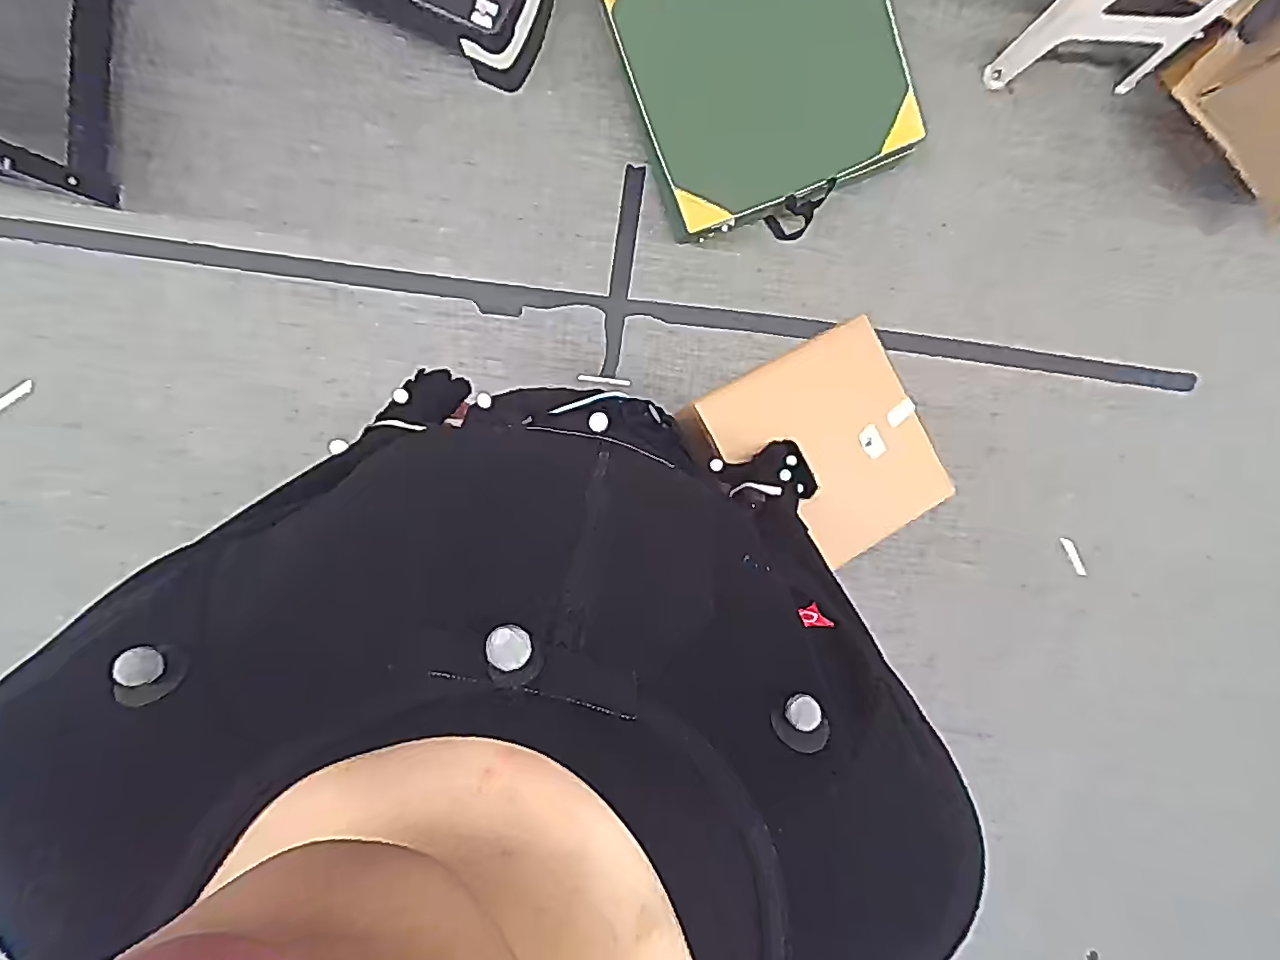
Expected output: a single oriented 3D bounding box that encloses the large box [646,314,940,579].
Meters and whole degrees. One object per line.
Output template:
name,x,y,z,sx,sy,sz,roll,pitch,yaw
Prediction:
large box,0.242,-0.046,1.000,0.320,0.408,0.320,-28,91,-9
